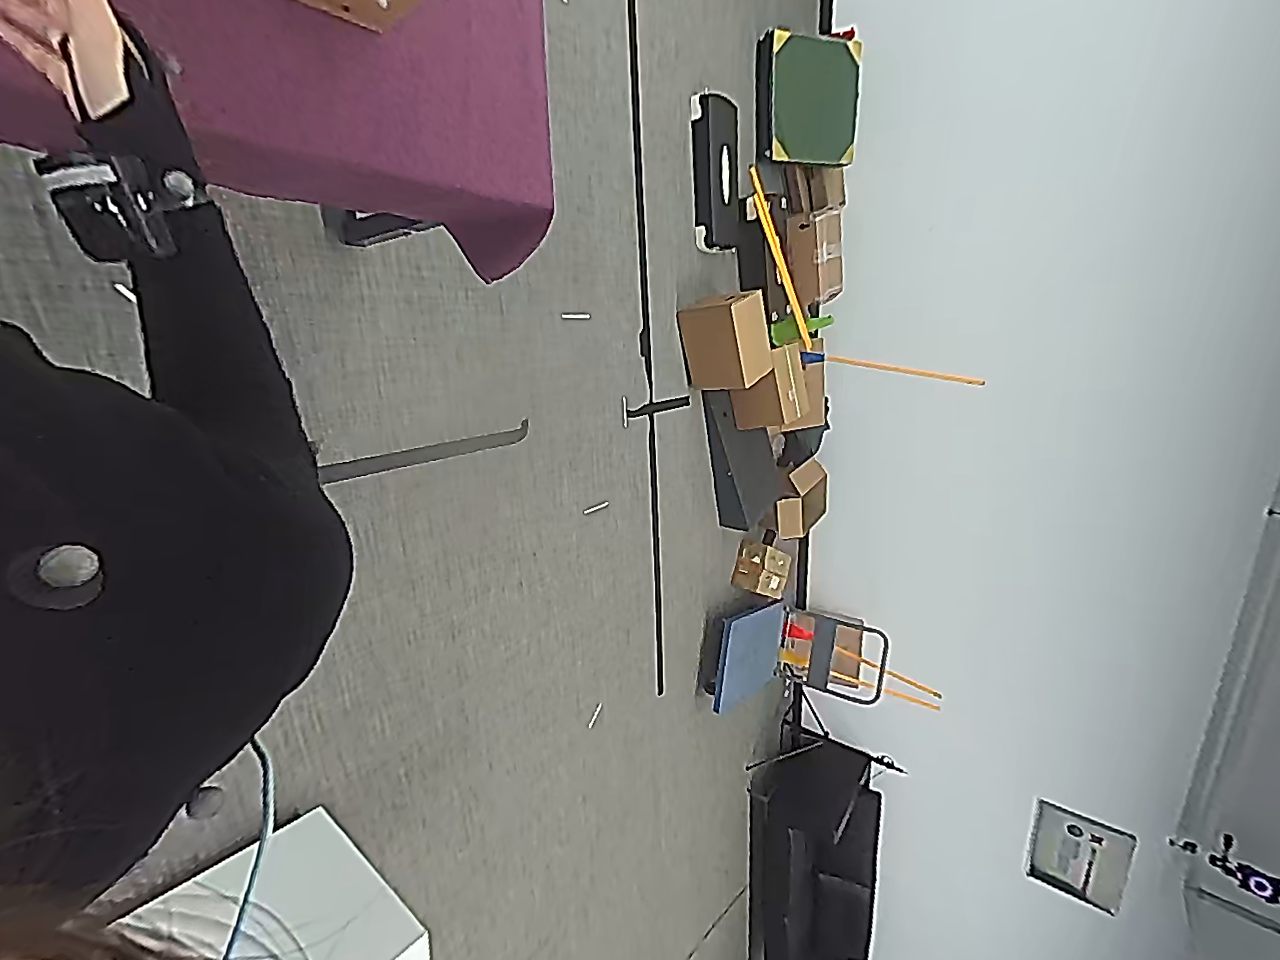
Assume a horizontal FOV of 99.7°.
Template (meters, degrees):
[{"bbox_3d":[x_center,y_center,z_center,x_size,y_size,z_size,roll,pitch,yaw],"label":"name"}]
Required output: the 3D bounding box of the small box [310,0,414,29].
[{"bbox_3d":[-0.348,-0.667,0.615,0.168,0.176,0.179,-21,114,-49],"label":"small box"}]
